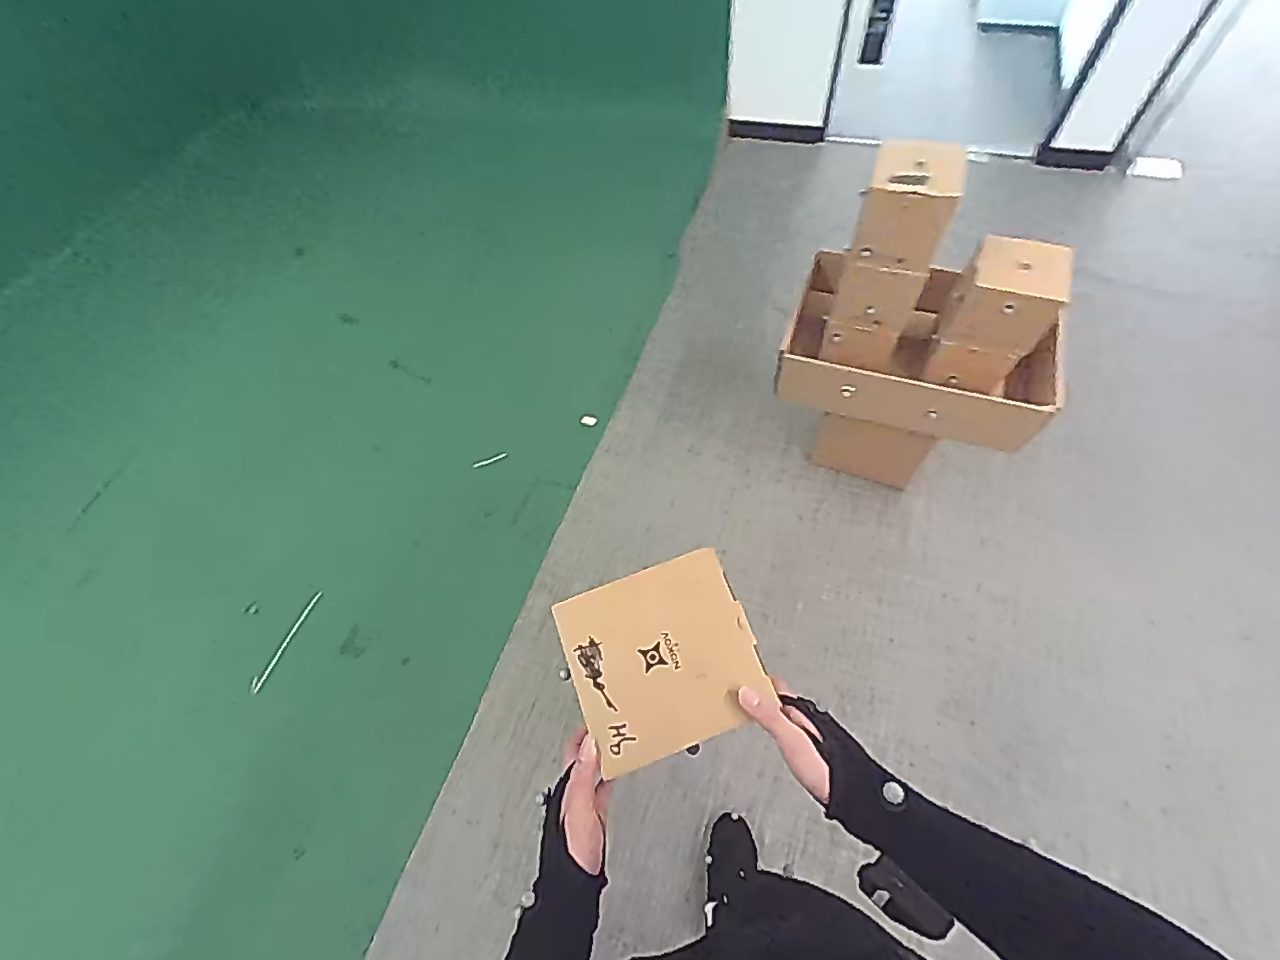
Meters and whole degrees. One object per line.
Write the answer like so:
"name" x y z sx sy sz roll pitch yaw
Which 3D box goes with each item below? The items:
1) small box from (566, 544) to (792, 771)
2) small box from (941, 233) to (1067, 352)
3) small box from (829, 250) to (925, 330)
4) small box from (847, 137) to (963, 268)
"small box" 0.033 0.188 0.580 0.179 0.176 0.168 -18 68 -6
"small box" 0.795 -0.408 1.195 0.179 0.176 0.168 18 65 13
"small box" 0.551 -0.481 1.254 0.168 0.176 0.179 16 63 13
"small box" 0.538 -0.568 1.115 0.168 0.176 0.179 15 62 12
